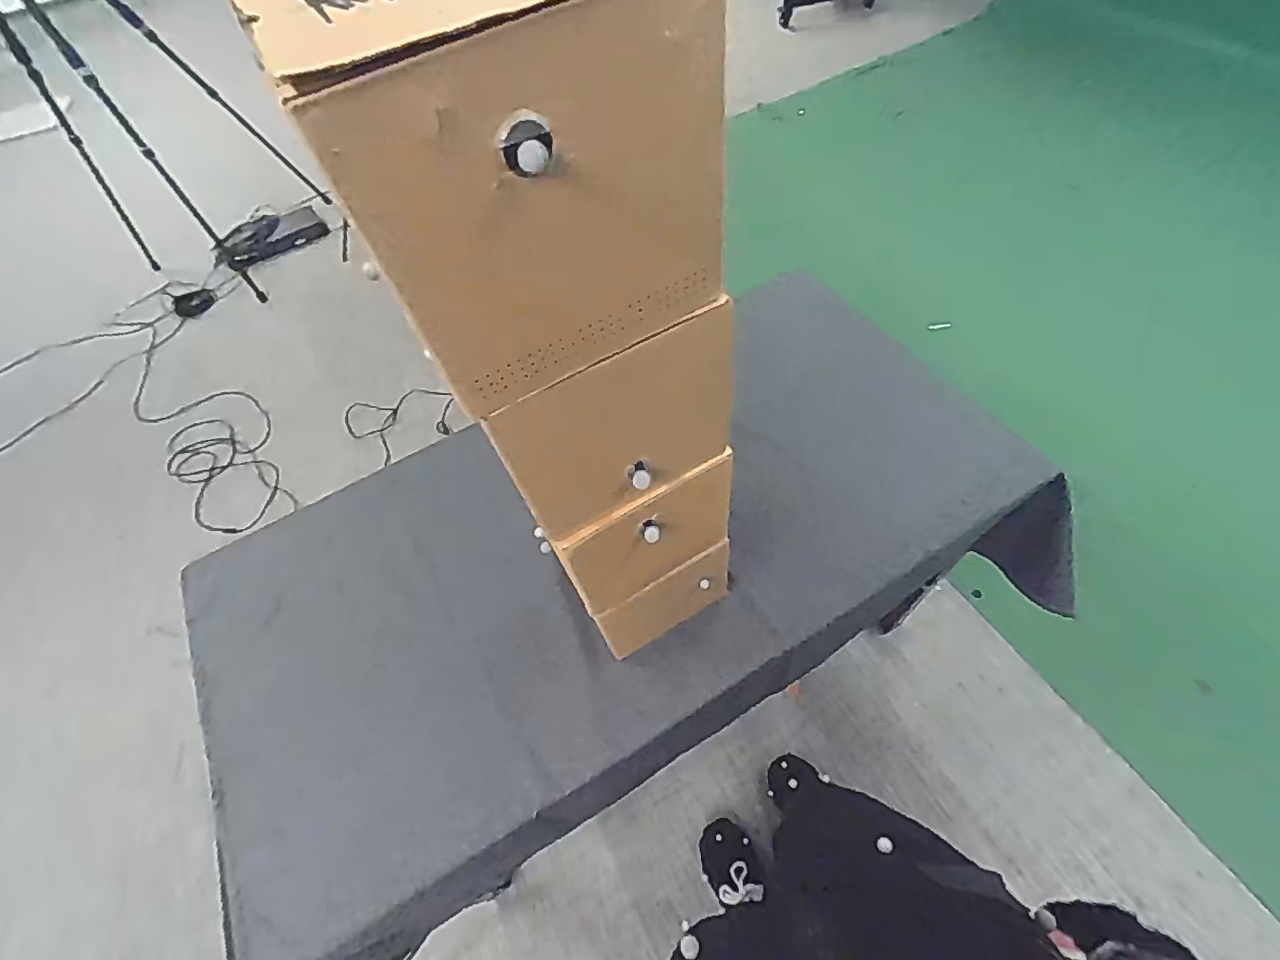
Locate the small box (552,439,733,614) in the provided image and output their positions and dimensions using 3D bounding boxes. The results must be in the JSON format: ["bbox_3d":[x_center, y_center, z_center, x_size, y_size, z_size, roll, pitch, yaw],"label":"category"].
[{"bbox_3d":[-0.022,0.011,0.574,0.179,0.176,0.168,-30,58,-11],"label":"small box"}]

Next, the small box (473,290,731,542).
[{"bbox_3d":[-0.046,-0.081,0.441,0.179,0.176,0.168,-28,57,-11],"label":"small box"}]

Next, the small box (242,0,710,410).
[{"bbox_3d":[-0.072,-0.170,0.305,0.179,0.176,0.168,-29,58,-11],"label":"small box"}]
